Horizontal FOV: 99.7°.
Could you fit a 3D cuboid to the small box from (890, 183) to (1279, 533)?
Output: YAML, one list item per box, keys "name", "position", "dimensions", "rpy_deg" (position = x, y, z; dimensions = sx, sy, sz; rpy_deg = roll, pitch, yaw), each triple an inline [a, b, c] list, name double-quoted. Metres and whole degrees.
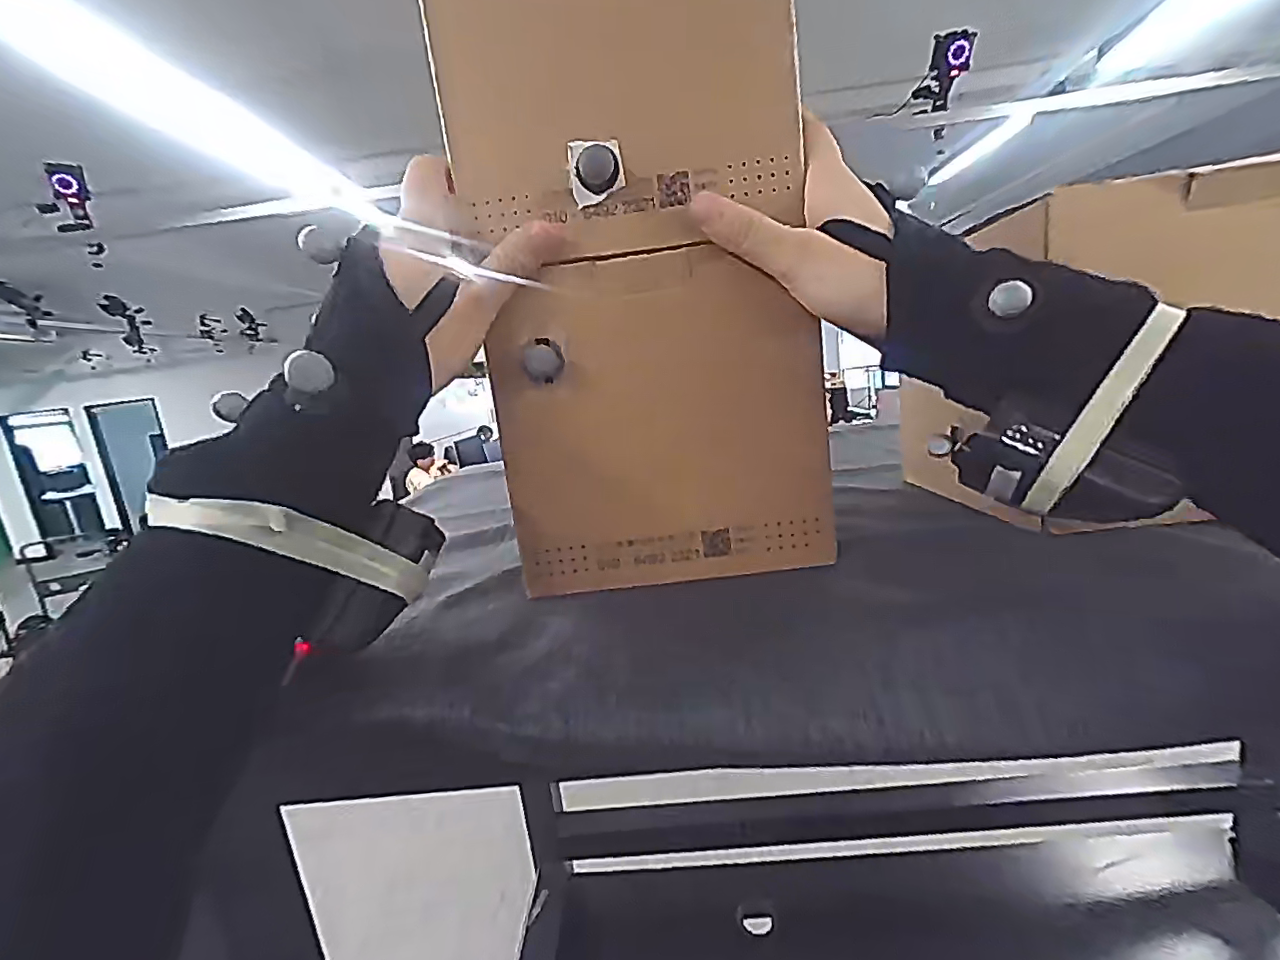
- name: "small box"
  position: [0.279, -0.066, 0.344]
  dimensions: [0.168, 0.176, 0.179]
  rpy_deg: [-6, 9, 4]

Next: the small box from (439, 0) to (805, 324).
- name: "small box"
  position: [-0.006, -0.194, 0.330]
  dimensions: [0.168, 0.176, 0.179]
  rpy_deg: [-8, 11, 3]
